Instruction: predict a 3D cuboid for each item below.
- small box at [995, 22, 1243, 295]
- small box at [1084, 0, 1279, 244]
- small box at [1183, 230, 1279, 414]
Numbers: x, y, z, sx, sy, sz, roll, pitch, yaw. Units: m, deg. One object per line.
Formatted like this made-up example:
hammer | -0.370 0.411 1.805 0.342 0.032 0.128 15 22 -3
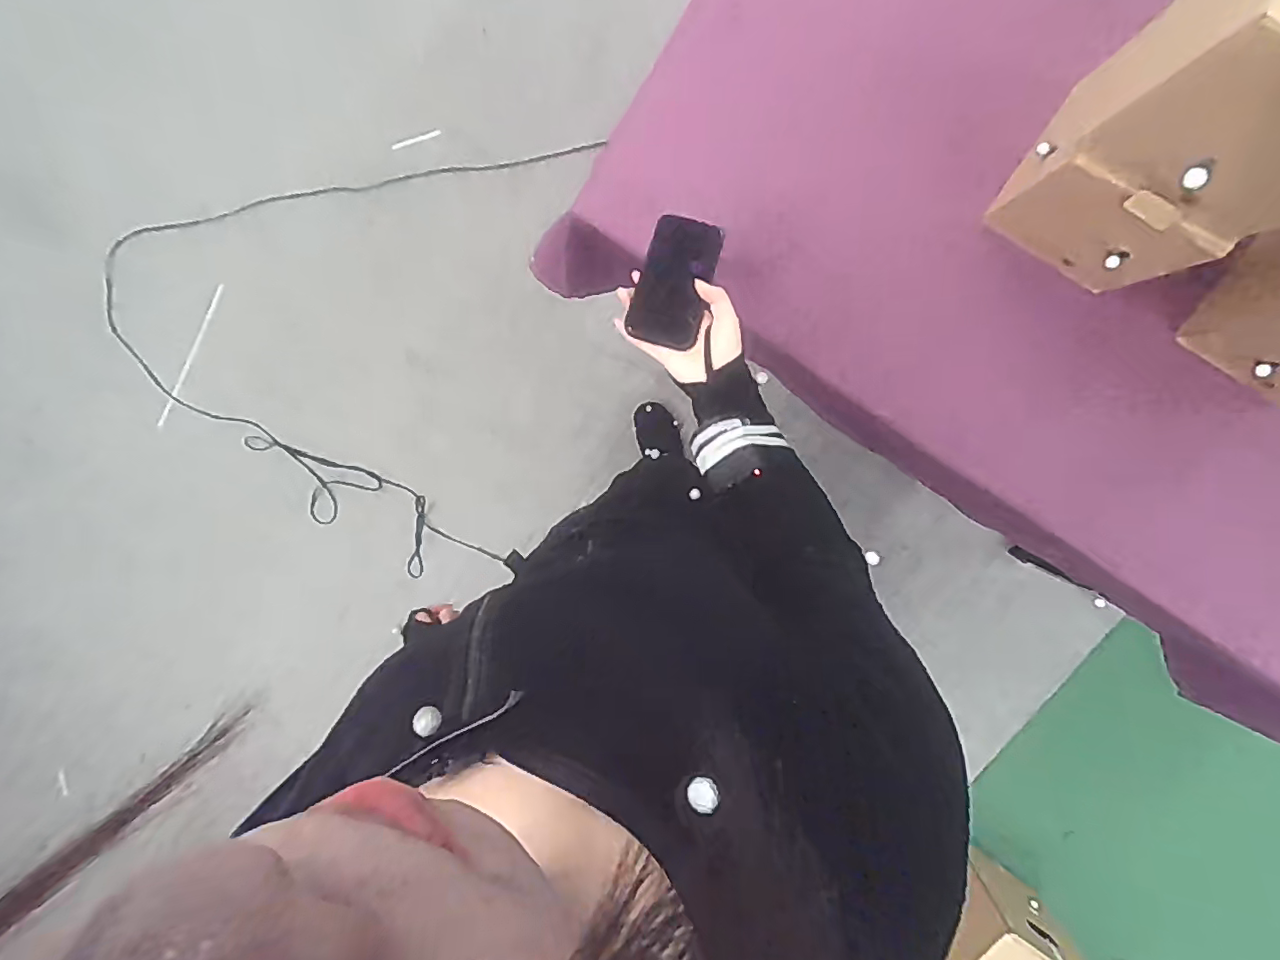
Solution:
small box | 0.512 -0.317 0.555 0.168 0.176 0.179 34 99 1
small box | 0.491 -0.310 0.391 0.168 0.176 0.179 33 100 1
small box | 0.736 -0.175 0.547 0.168 0.176 0.179 34 101 1
